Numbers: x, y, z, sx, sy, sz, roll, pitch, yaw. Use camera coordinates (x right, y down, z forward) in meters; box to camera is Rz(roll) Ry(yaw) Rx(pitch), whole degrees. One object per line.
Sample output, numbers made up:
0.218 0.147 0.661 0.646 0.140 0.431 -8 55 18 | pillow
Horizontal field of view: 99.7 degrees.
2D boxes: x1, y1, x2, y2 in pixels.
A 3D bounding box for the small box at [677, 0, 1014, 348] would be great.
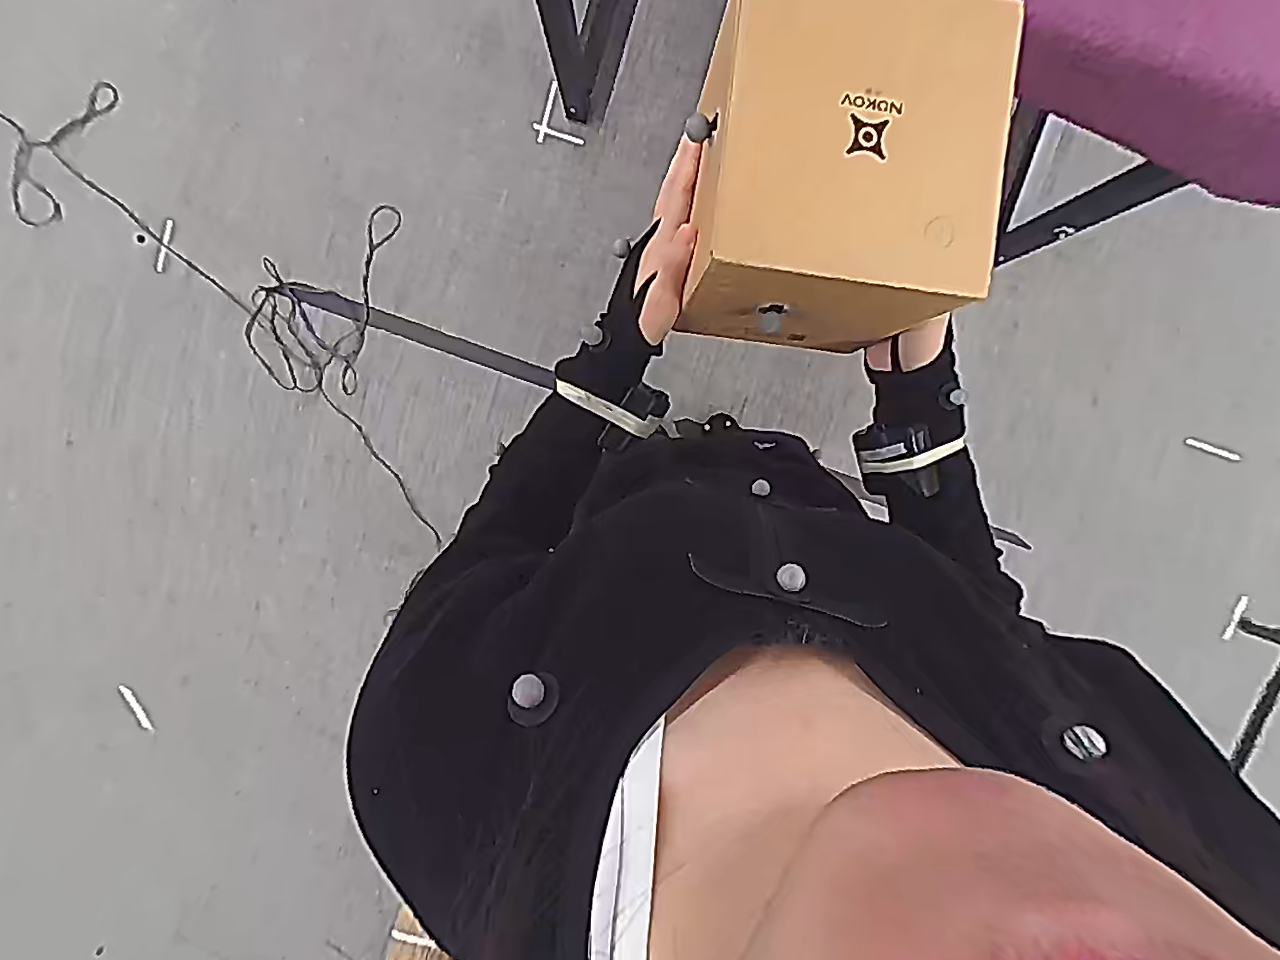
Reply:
0.124 -0.203 0.392 0.168 0.176 0.179 6 90 -5 | small box
